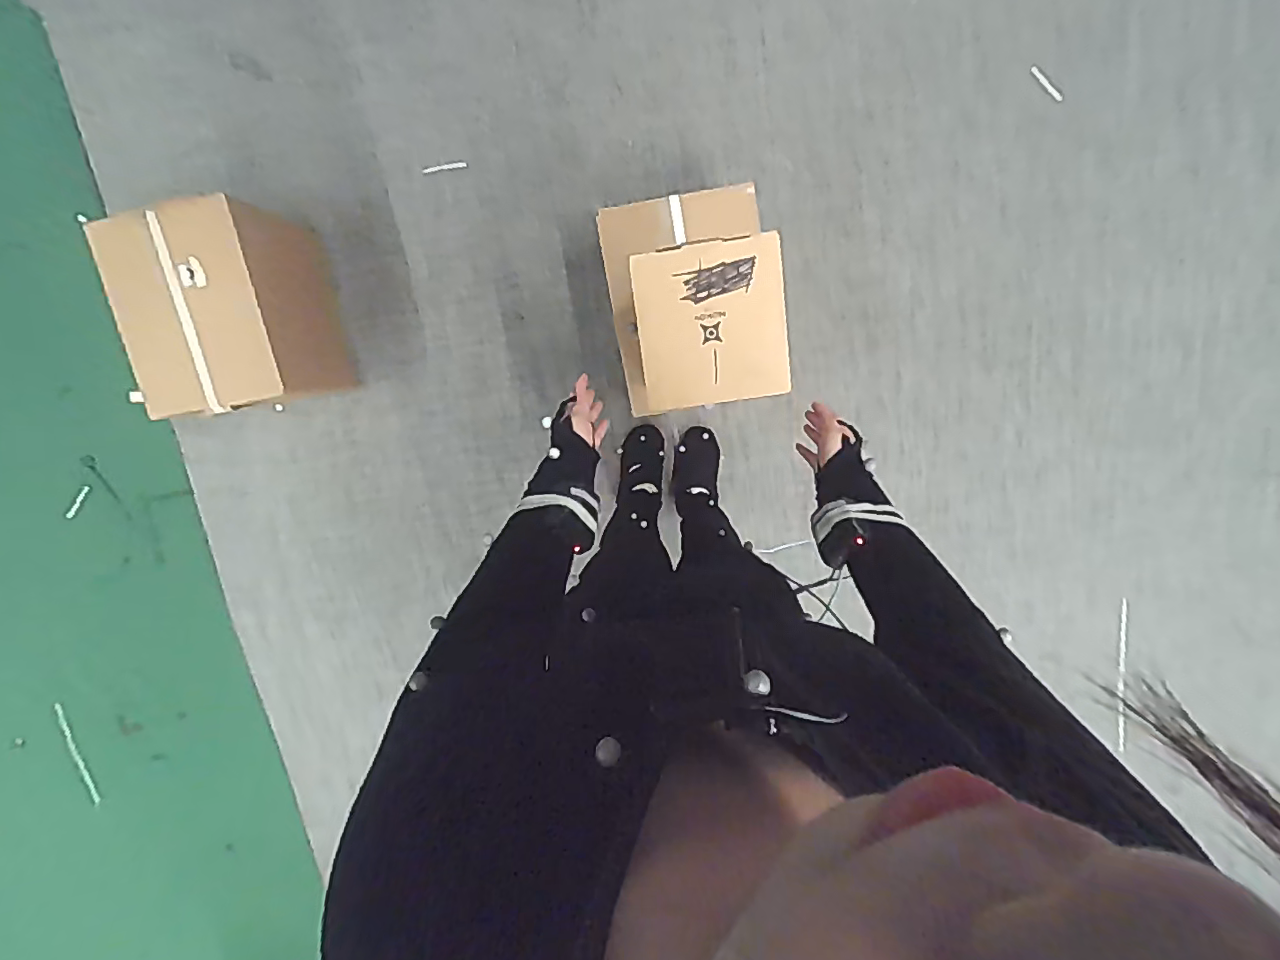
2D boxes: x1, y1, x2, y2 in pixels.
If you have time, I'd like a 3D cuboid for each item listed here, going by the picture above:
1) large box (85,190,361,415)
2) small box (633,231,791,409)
[{"bbox_3d":[-0.921,-0.383,1.252,0.320,0.320,0.408,-9,101,4],"label":"large box"},{"bbox_3d":[0.084,-0.192,0.678,0.168,0.176,0.179,-7,104,5],"label":"small box"}]
